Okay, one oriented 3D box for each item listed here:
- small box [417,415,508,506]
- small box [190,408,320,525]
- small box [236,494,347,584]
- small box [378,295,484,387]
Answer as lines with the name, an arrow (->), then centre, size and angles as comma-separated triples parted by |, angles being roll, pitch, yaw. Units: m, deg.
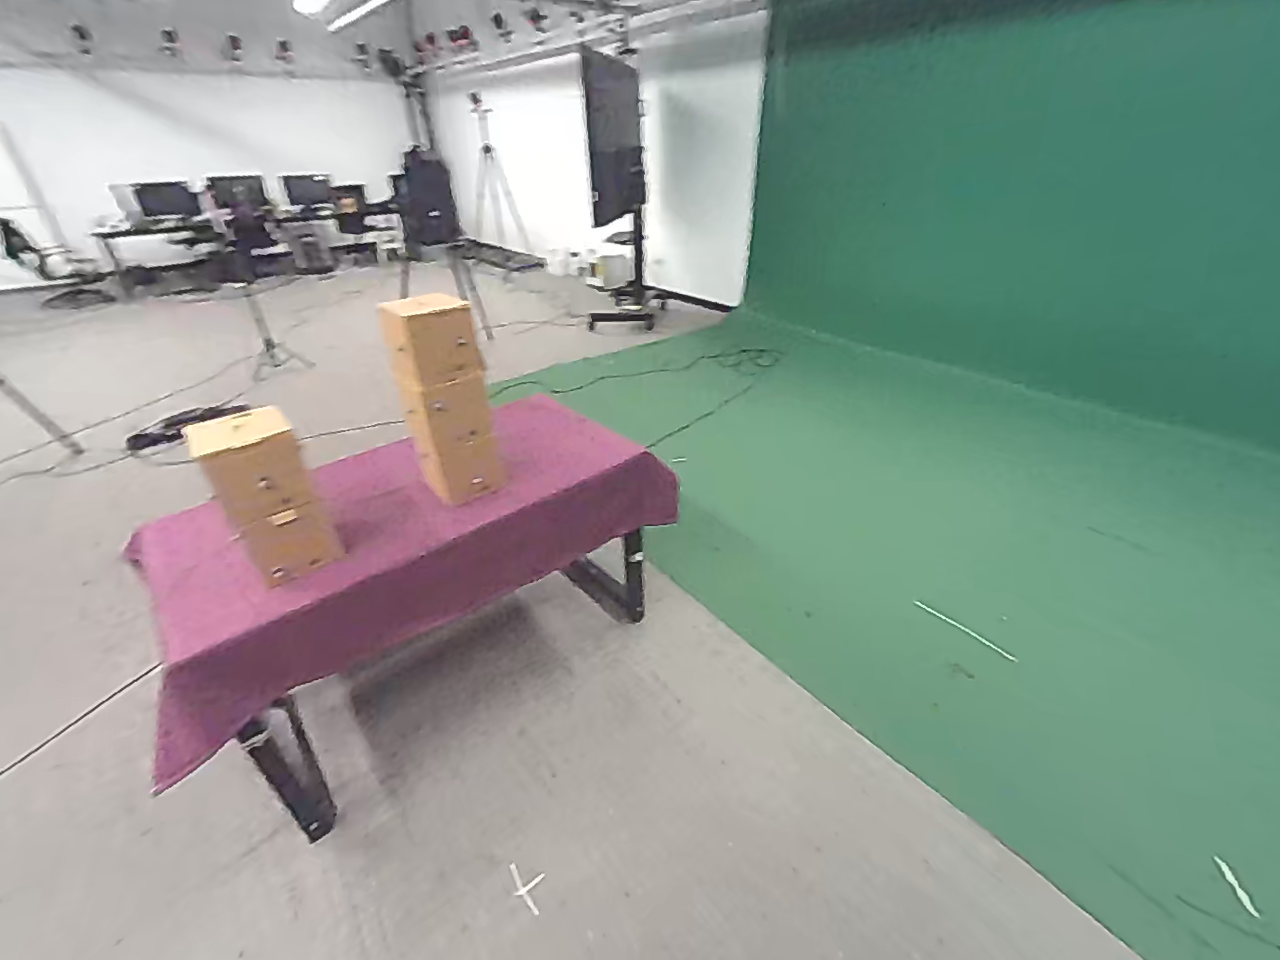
small box -> -0.482, -0.055, 1.476 | 0.168, 0.176, 0.179 | -25, 39, -31
small box -> -0.805, -0.026, 1.140 | 0.168, 0.176, 0.179 | -25, 40, -33
small box -> -0.797, 0.112, 1.229 | 0.168, 0.176, 0.179 | -27, 39, -34
small box -> -0.500, -0.335, 1.307 | 0.168, 0.176, 0.179 | -26, 38, -34
